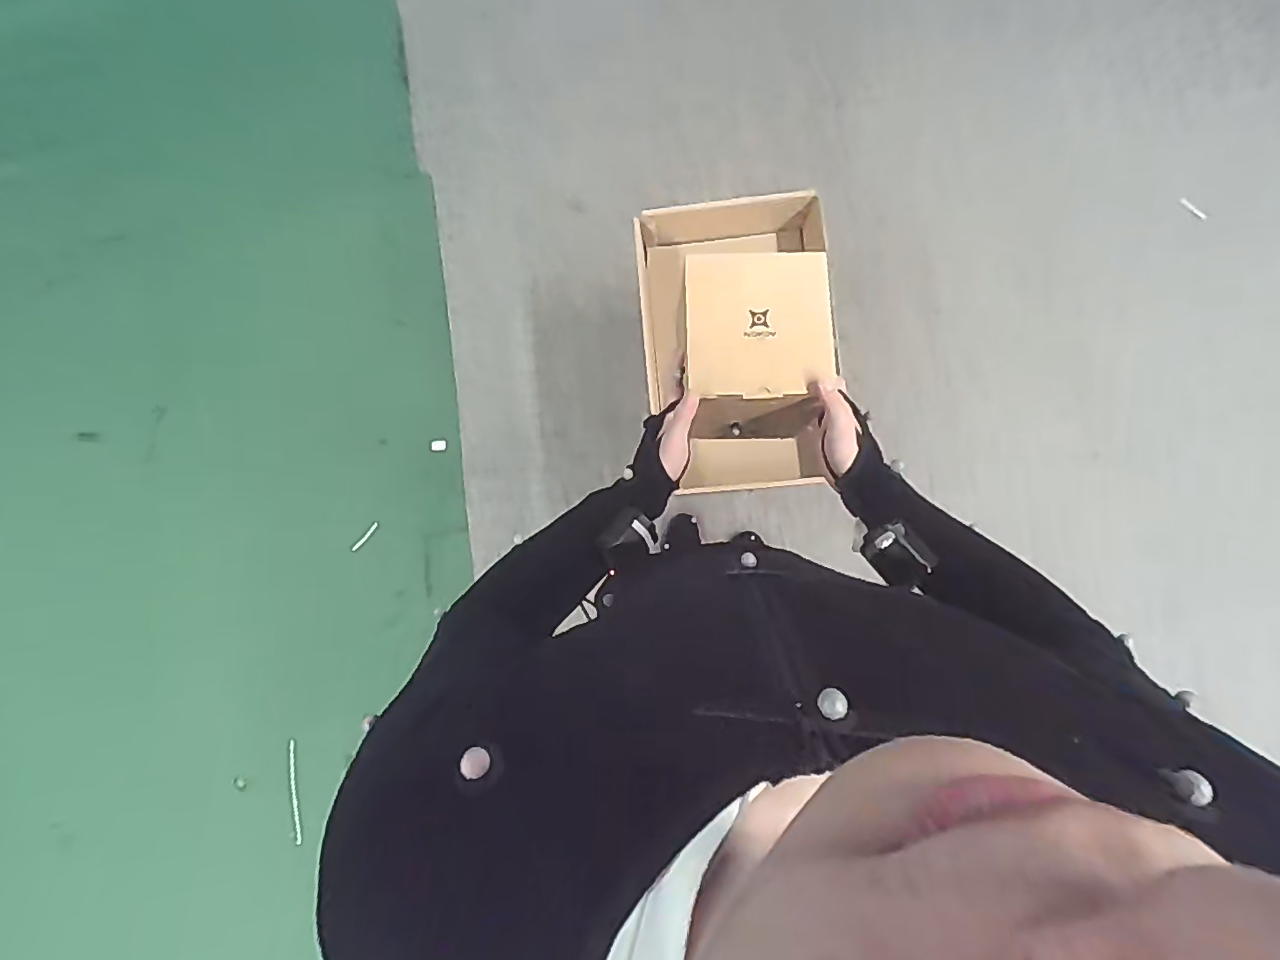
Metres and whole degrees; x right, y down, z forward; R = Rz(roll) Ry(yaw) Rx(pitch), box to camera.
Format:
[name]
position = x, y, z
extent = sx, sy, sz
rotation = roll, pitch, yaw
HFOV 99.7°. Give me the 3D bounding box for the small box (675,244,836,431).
[small box]
position = 0.132, -0.169, 0.678
extent = 0.168, 0.176, 0.179
rotation = -1, 80, 1
